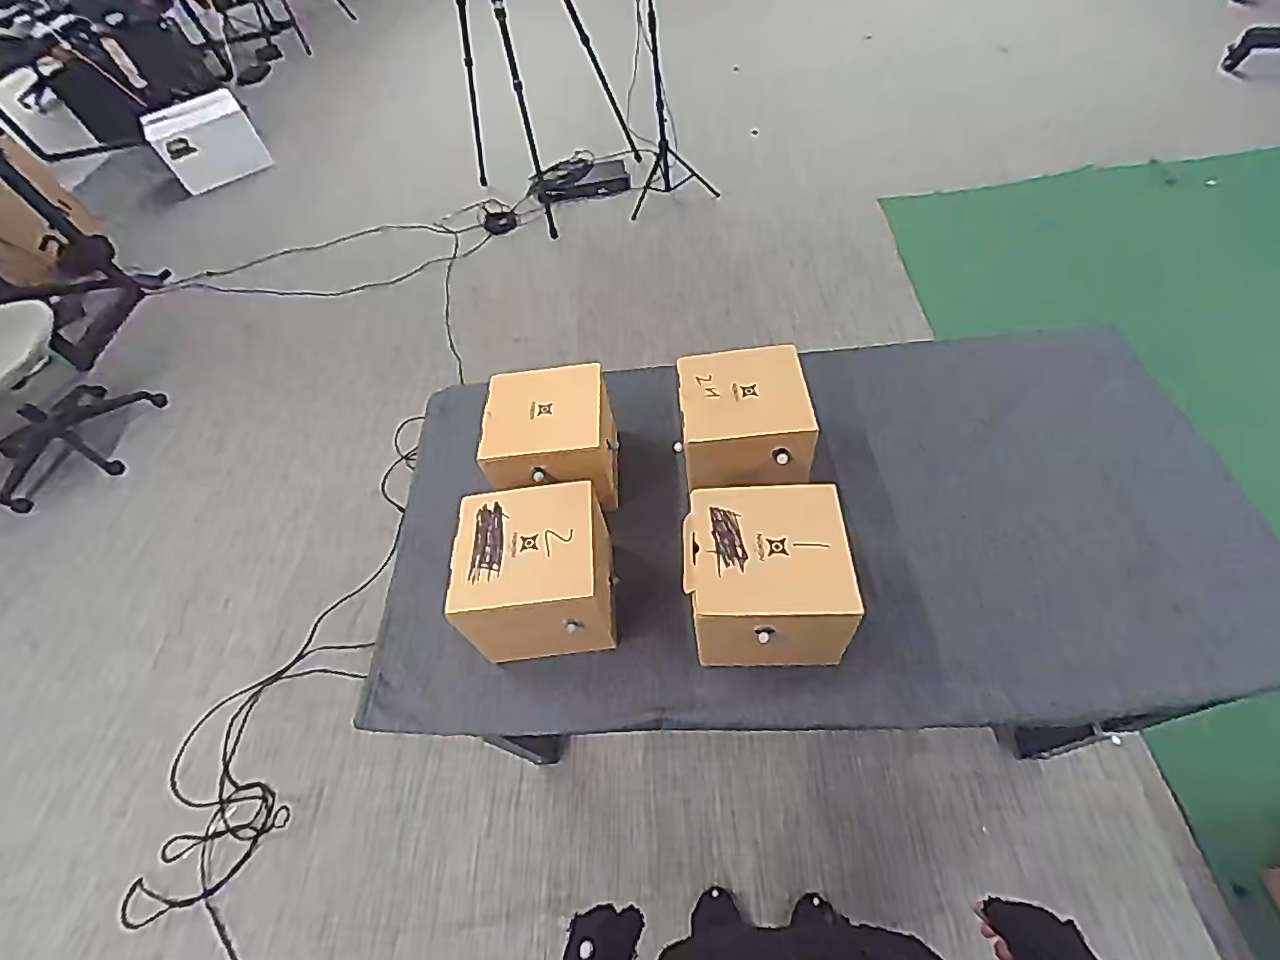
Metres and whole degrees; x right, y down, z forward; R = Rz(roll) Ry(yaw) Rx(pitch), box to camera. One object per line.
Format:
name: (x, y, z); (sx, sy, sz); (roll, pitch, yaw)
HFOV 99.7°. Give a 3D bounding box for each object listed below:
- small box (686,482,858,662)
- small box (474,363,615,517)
small box: (0.152, 0.120, 0.671); (0.179, 0.176, 0.168); (-3, 54, 7)
small box: (-0.136, -0.057, 0.847); (0.179, 0.176, 0.168); (-7, 55, 5)
